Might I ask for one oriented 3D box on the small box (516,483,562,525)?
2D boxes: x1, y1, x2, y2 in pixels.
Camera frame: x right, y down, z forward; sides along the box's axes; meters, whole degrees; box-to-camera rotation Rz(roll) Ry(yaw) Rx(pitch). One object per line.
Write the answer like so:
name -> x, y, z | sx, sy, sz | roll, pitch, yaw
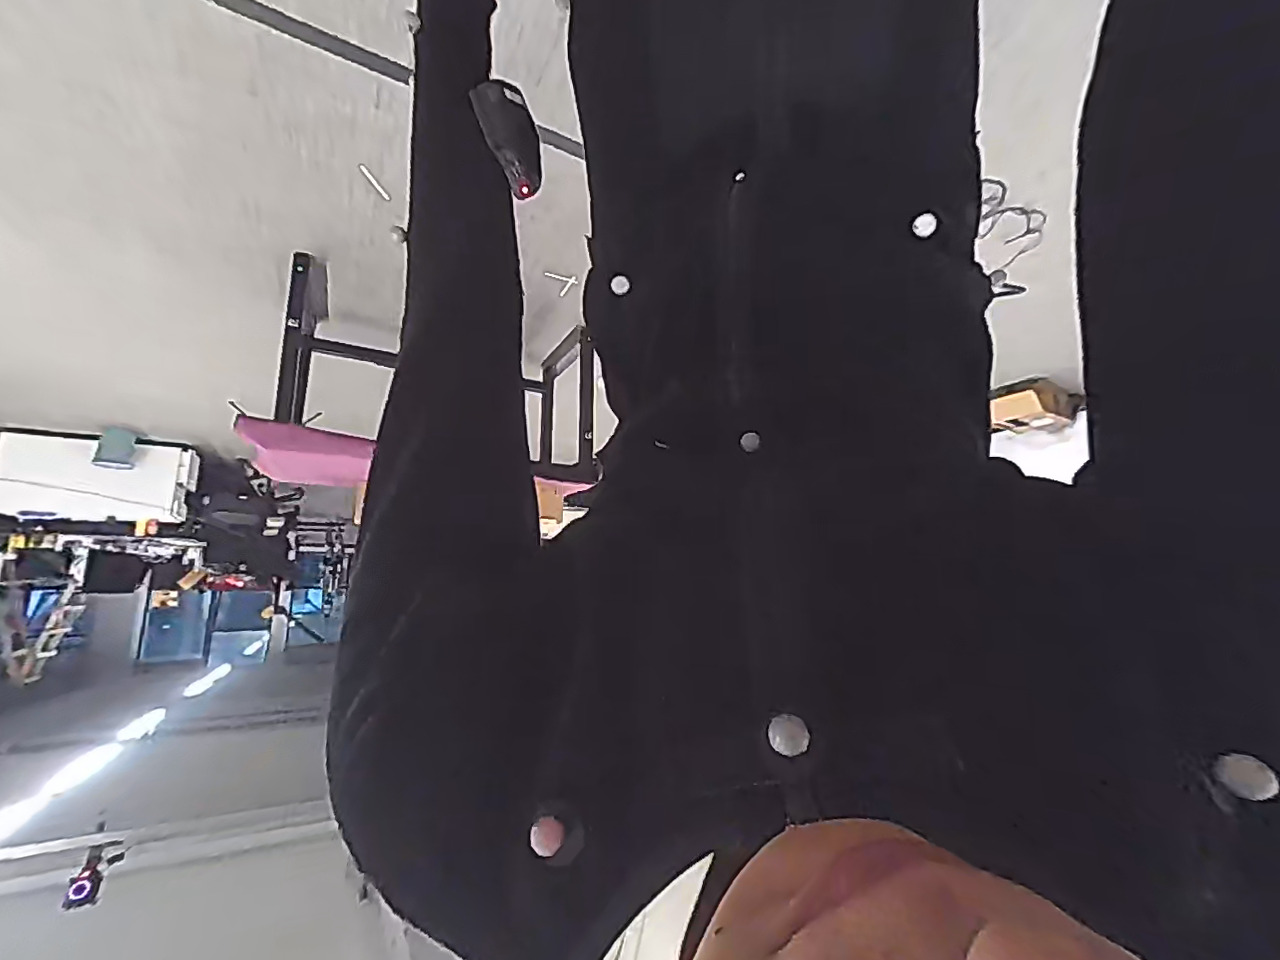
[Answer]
small box -> -0.459, 0.109, 2.448 | 0.168, 0.176, 0.179 | 6, 169, -28
